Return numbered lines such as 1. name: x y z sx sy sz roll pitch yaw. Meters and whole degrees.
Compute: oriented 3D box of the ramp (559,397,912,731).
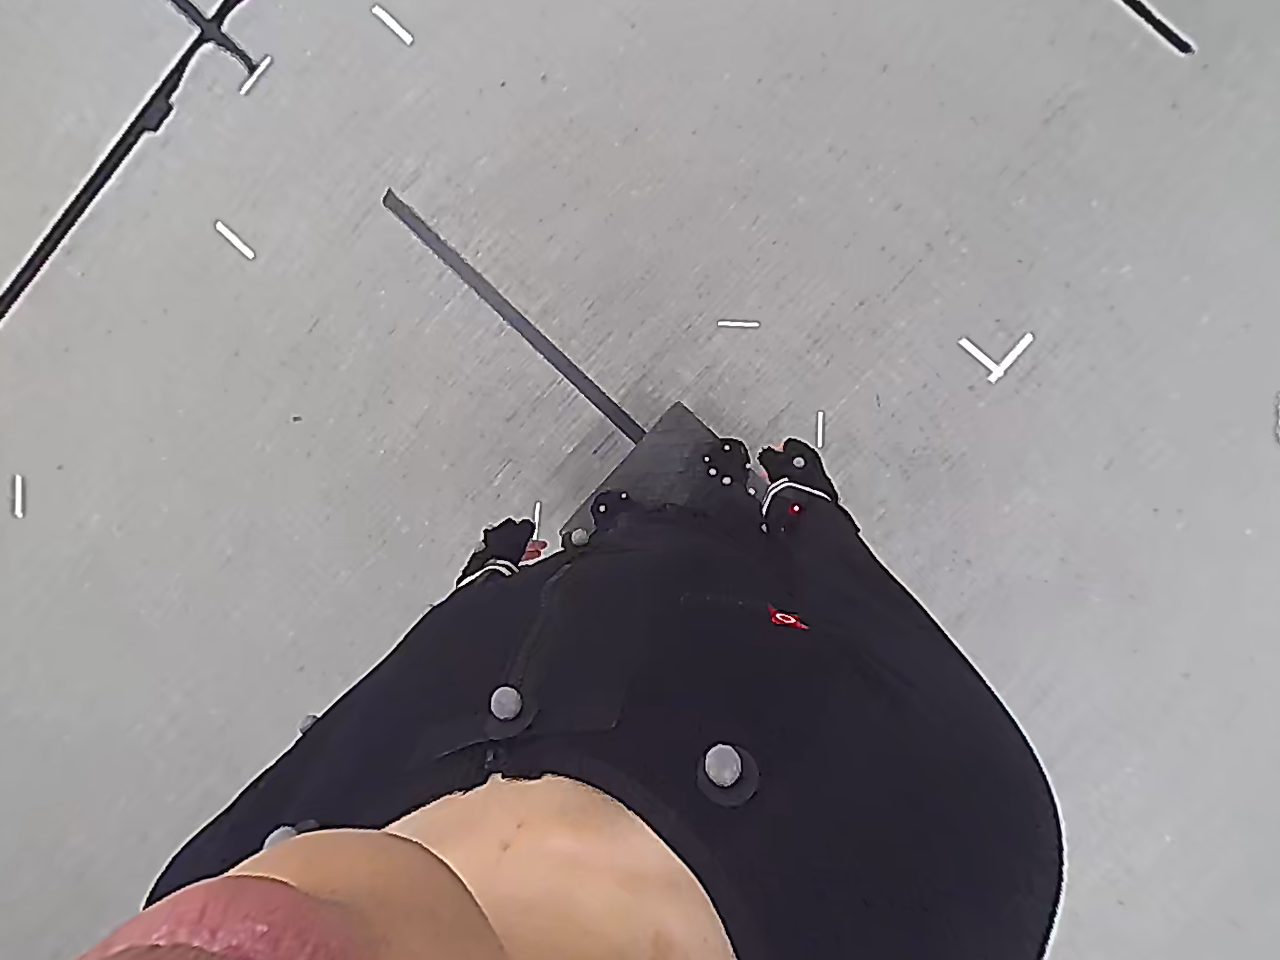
1. ramp: 0.300 0.269 1.552 0.991 0.206 0.509 40 93 0
